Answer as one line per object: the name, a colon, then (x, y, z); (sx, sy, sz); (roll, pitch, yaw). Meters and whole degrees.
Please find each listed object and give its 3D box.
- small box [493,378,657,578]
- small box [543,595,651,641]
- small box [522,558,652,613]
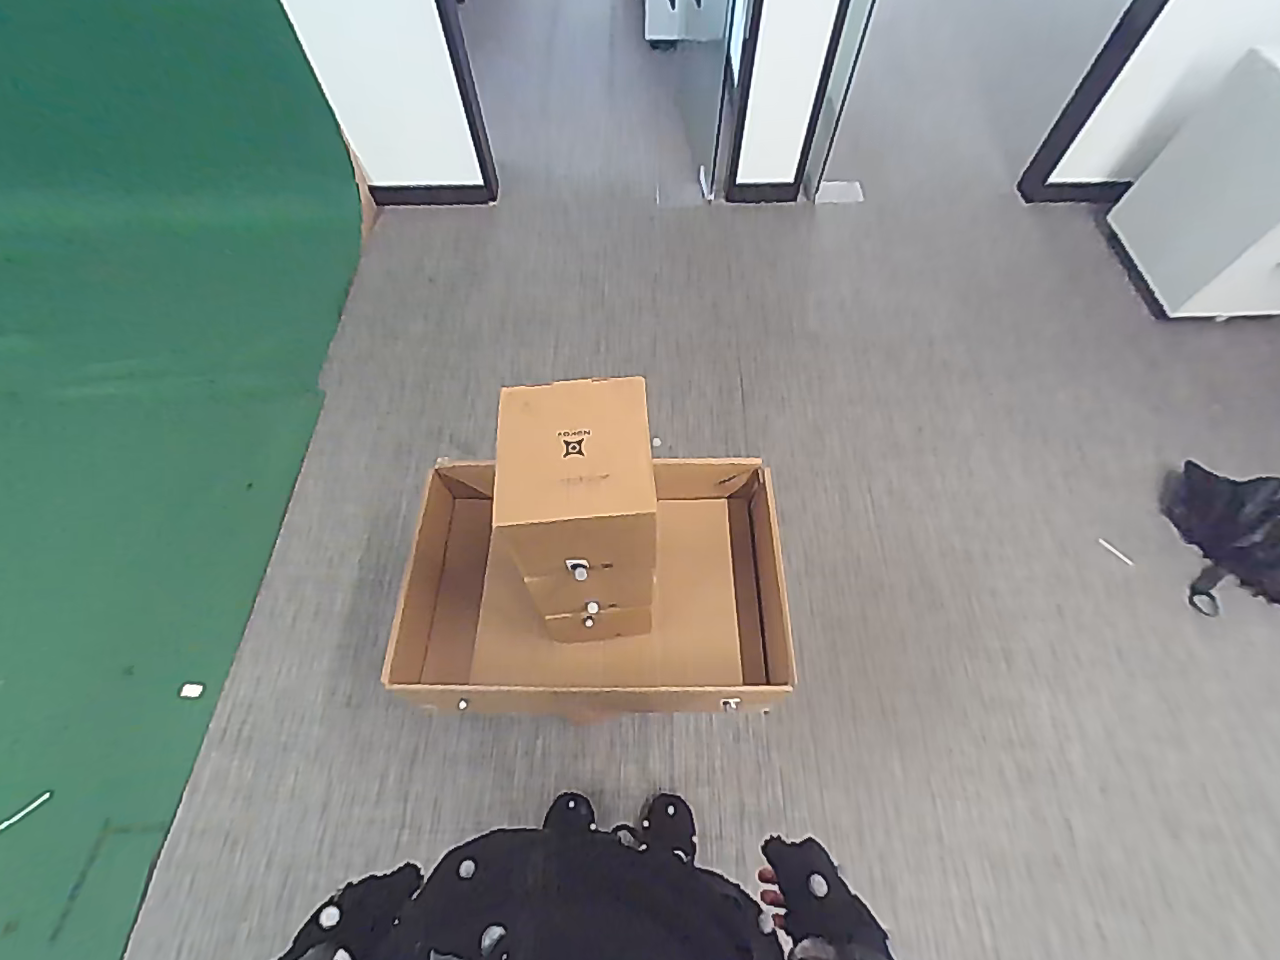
small box: (-0.069, 0.003, 0.648); (0.168, 0.176, 0.179); (-6, 62, 0)
small box: (-0.072, 0.164, 0.931); (0.168, 0.176, 0.179); (-6, 60, -2)
small box: (-0.073, 0.081, 0.790); (0.168, 0.176, 0.179); (-5, 62, -2)
